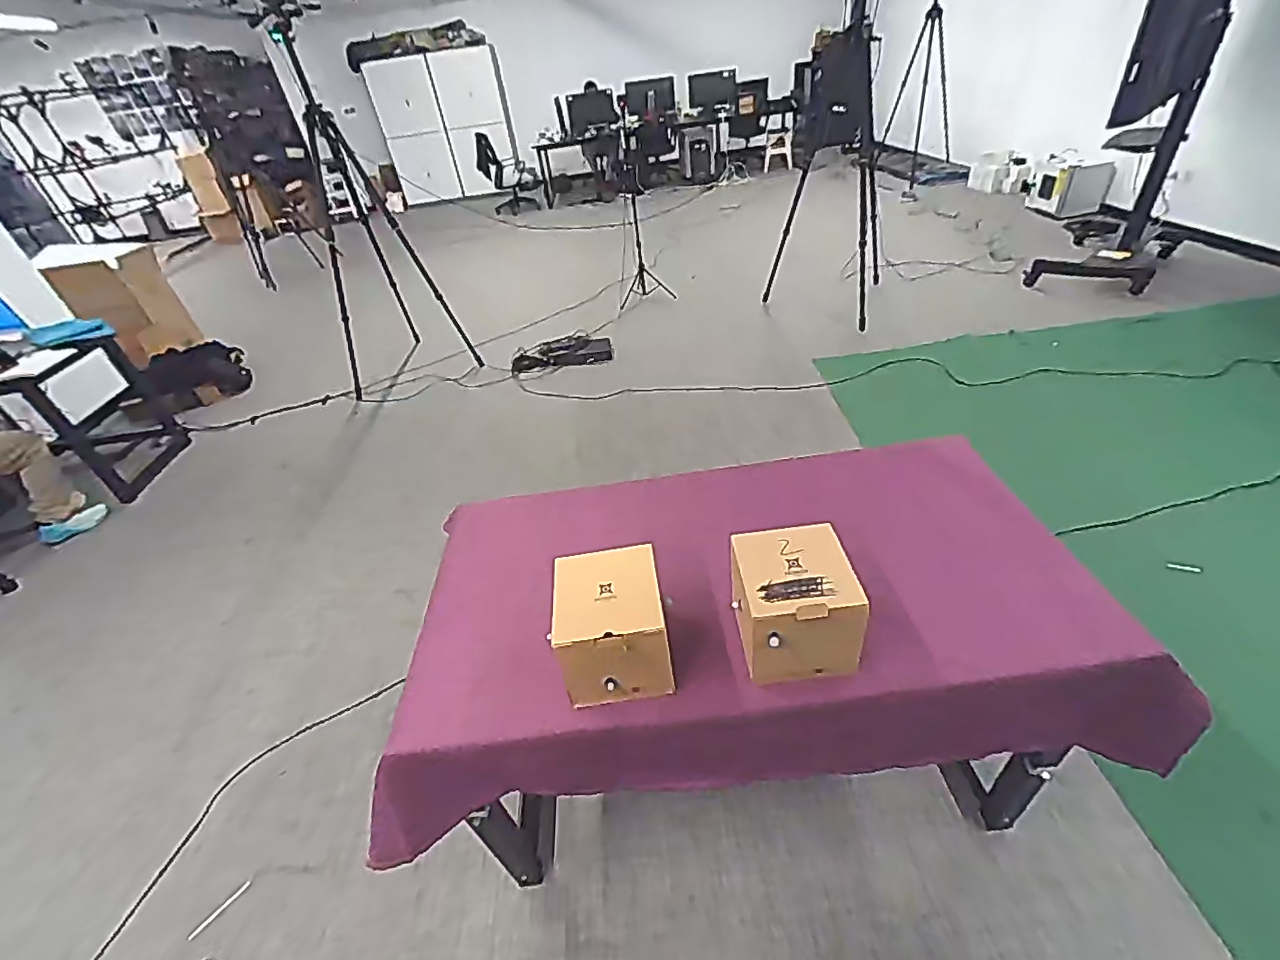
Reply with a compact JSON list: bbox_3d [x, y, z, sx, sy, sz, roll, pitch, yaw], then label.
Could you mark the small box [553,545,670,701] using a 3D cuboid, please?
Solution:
[{"bbox_3d":[-0.045,0.236,0.898,0.168,0.176,0.179,-9,39,0],"label":"small box"}]
